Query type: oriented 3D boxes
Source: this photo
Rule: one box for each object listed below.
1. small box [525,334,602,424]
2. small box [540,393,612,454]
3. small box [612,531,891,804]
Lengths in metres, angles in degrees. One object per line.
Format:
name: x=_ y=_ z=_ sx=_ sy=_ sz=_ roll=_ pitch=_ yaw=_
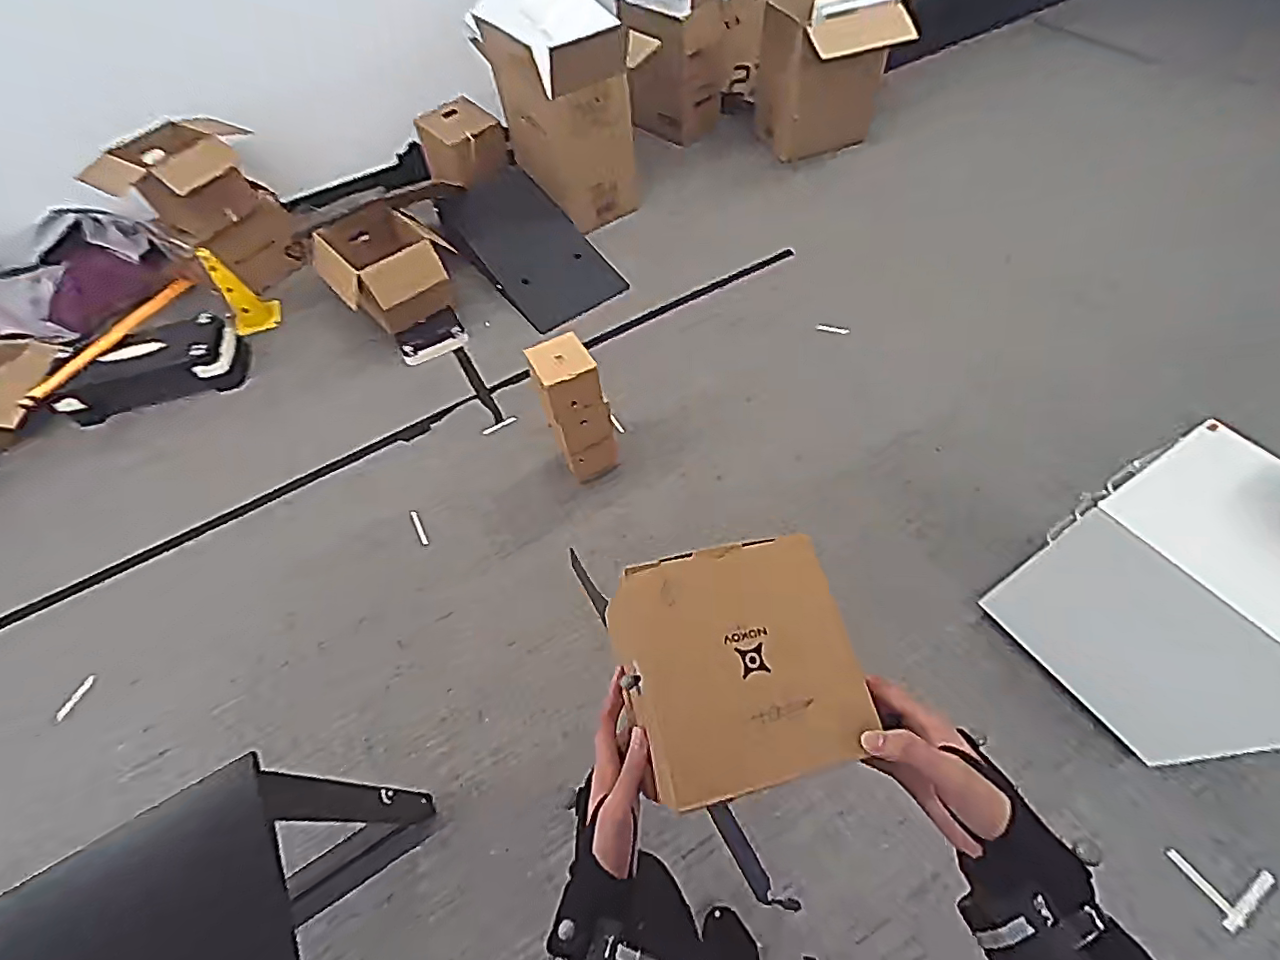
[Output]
small box: x=-0.230 y=-0.305 z=1.647 sx=0.168 sy=0.176 sz=0.179 roll=-26 pitch=59 yaw=-13
small box: x=-0.207 y=-0.215 z=1.781 sx=0.179 sy=0.176 sz=0.168 roll=-28 pitch=58 yaw=-15
small box: x=0.074 y=0.165 z=0.476 sx=0.168 sy=0.176 sz=0.179 roll=-8 pitch=65 yaw=-12
